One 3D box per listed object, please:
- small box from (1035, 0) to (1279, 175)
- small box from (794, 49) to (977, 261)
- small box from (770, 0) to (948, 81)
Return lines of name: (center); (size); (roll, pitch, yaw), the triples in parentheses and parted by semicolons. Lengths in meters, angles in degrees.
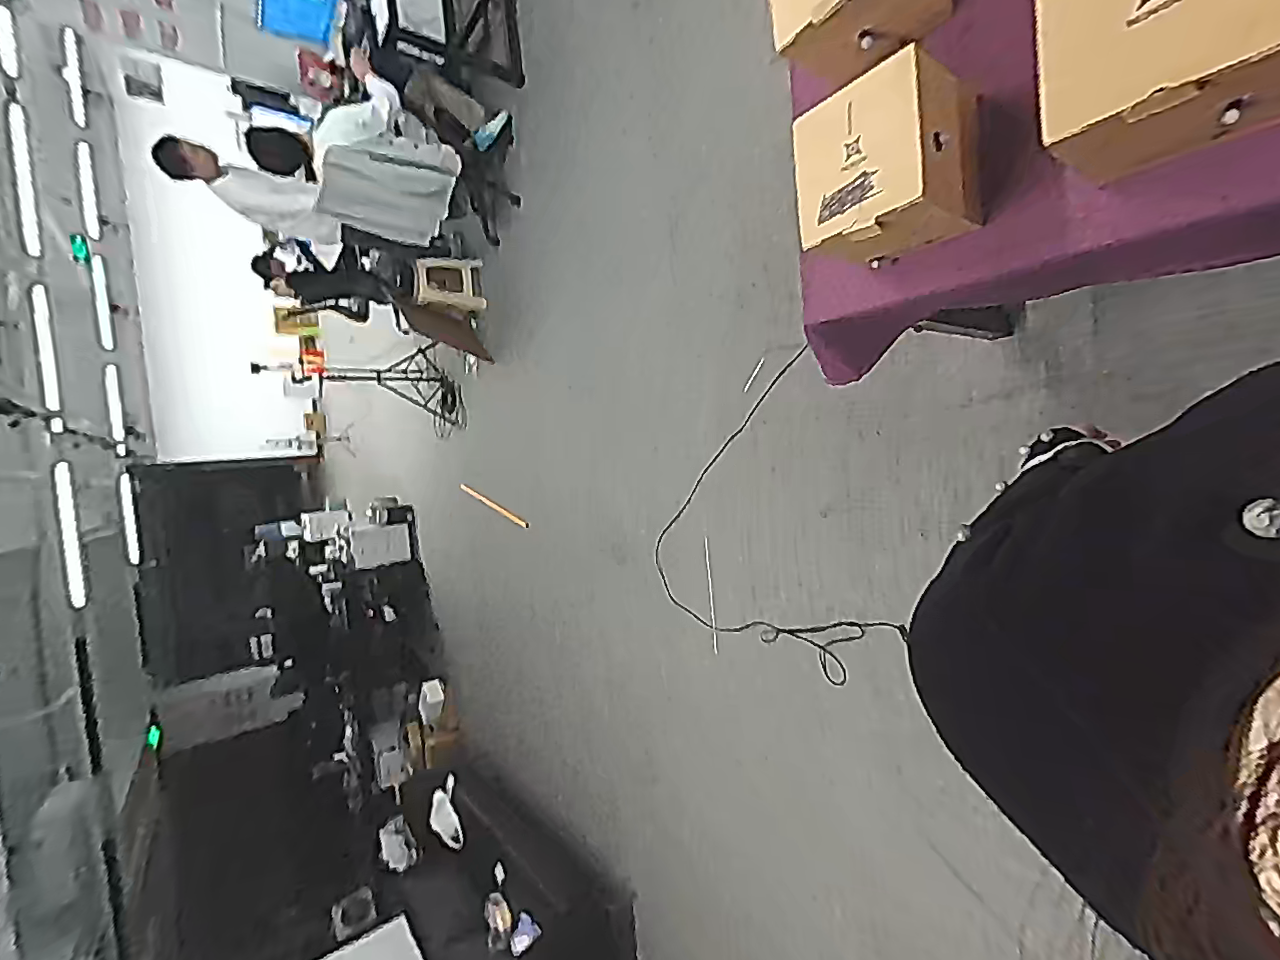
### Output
small box: (0.497, -0.416, 0.508); (0.168, 0.176, 0.179); (0, 94, 52)
small box: (0.330, -0.410, 0.726); (0.168, 0.176, 0.179); (-2, 92, 52)
small box: (0.293, -0.686, 0.734); (0.168, 0.176, 0.179); (-7, 90, 52)
